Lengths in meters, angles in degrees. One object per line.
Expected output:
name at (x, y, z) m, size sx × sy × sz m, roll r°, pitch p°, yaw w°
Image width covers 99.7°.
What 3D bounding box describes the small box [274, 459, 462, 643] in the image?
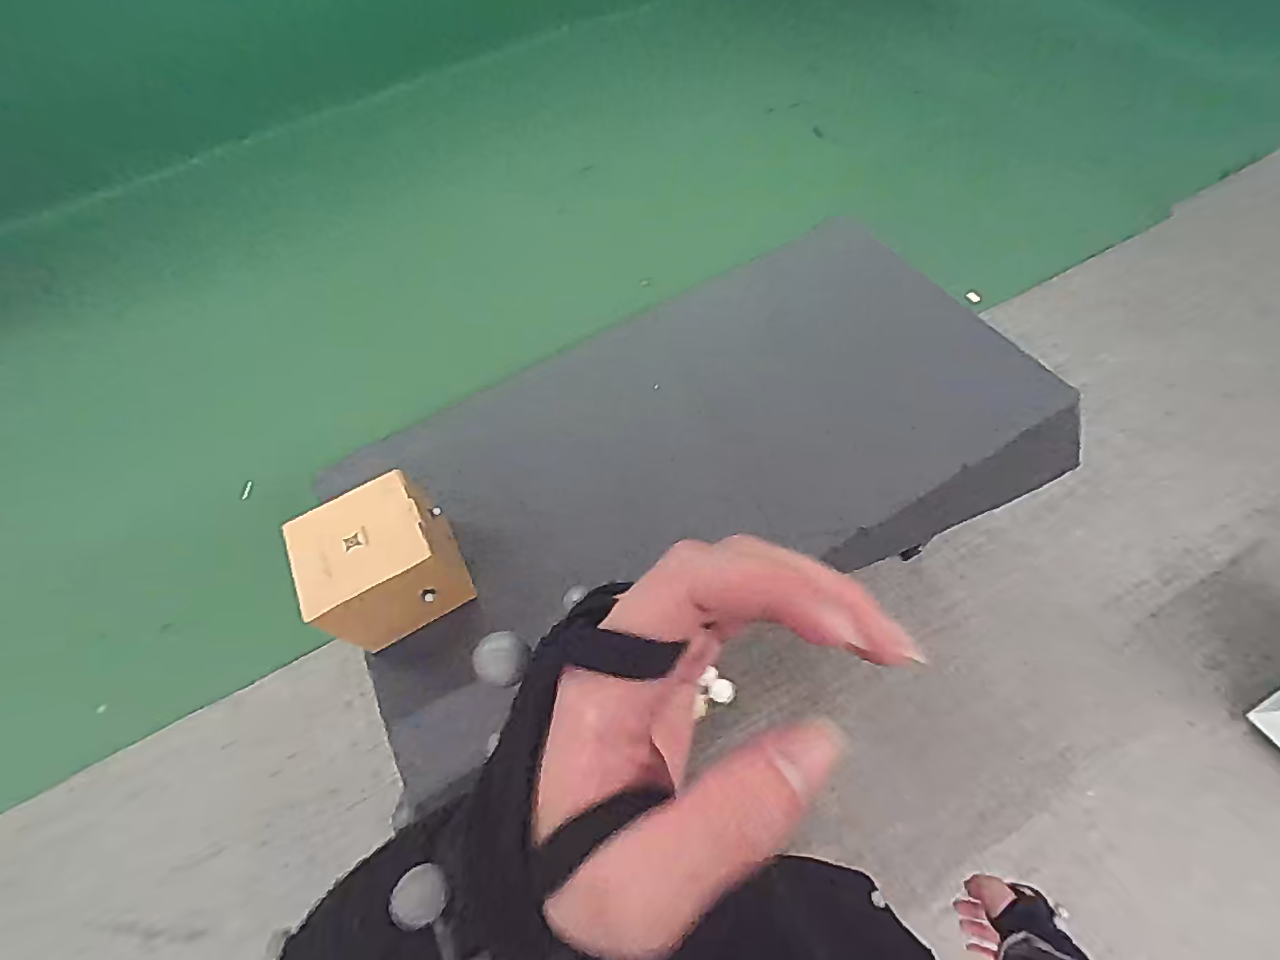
small box at (-0.377, 0.106, 0.779) m, size 0.179 × 0.176 × 0.168 m, roll -28°, pitch 60°, yaw -10°
